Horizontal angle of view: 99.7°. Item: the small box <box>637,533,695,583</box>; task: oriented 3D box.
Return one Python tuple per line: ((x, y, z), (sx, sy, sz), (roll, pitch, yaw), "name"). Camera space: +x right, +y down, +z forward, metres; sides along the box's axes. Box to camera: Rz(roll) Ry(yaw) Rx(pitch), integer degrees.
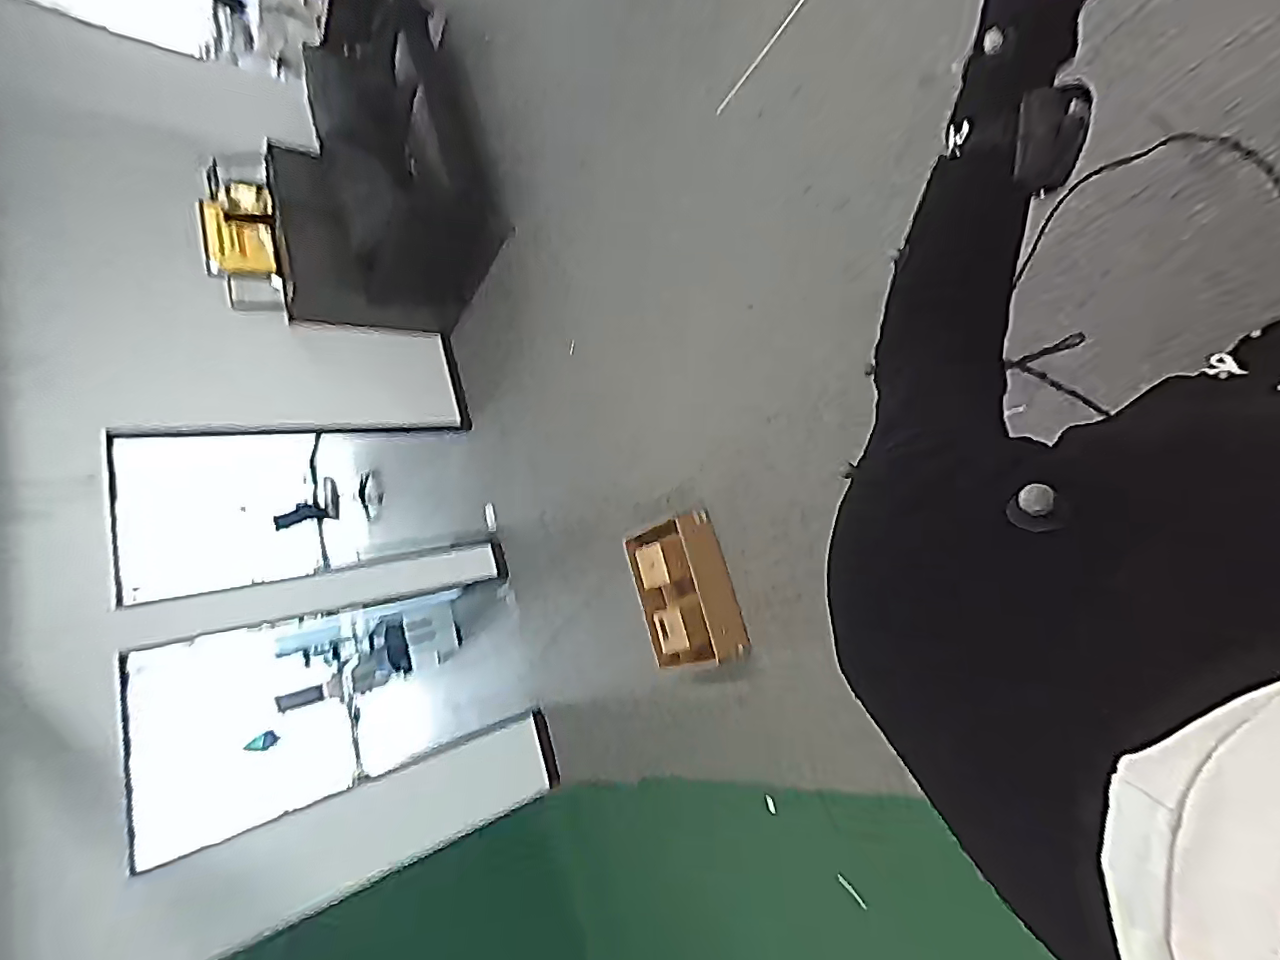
((0.120, 0.337, 2.360), (0.179, 0.176, 0.168), (-29, 73, 49), "small box")
